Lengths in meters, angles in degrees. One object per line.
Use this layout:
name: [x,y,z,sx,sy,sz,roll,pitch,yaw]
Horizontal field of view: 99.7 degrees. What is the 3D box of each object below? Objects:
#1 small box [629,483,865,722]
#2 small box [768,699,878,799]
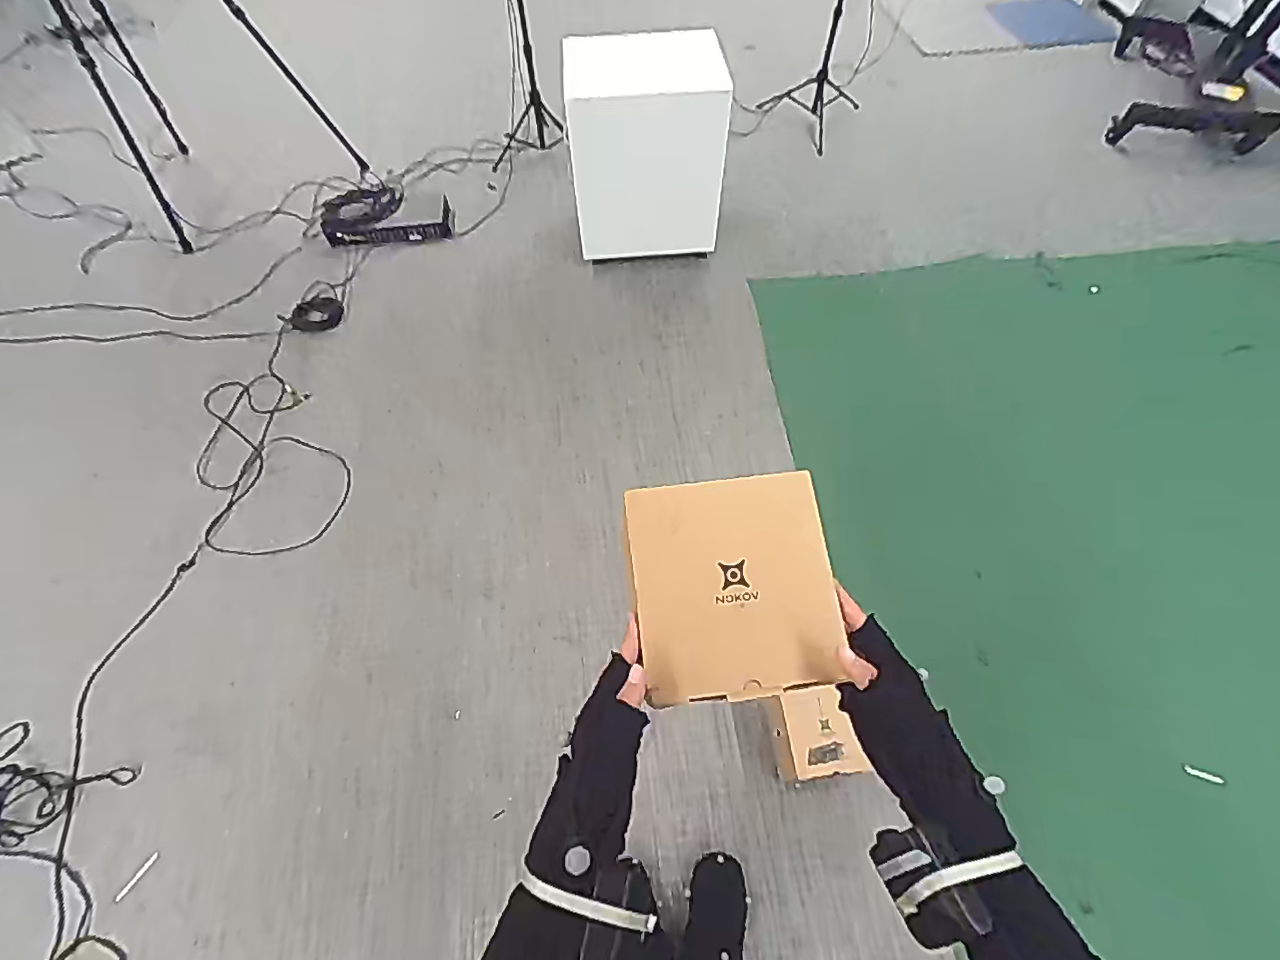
small box: [0.080,0.119,0.511,0.168,0.176,0.179,-7,71,-3]
small box: [0.393,0.598,1.195,0.168,0.176,0.179,-5,57,-3]
